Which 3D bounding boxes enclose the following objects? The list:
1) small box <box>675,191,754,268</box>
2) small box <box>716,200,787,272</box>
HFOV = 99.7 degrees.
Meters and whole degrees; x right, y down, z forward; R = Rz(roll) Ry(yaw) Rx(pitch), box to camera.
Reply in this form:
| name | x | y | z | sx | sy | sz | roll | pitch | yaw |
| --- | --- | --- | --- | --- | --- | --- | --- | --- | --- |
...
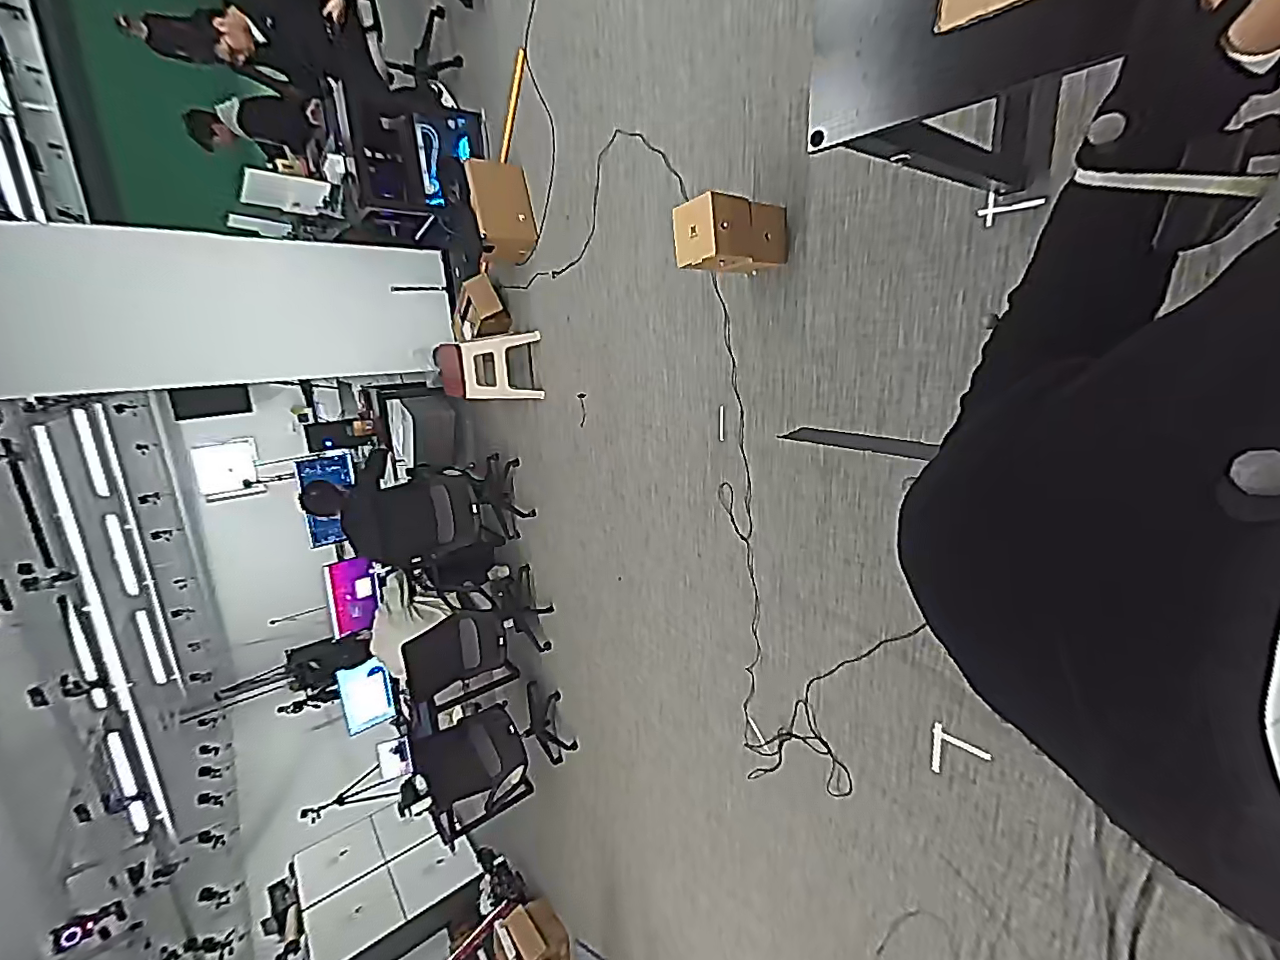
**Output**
| name | x | y | z | sx | sy | sz | roll | pitch | yaw |
| --- | --- | --- | --- | --- | --- | --- | --- | --- | --- |
| small box | 0.229 | -0.750 | 1.637 | 0.168 | 0.176 | 0.179 | 6 | 105 | 51 |
| small box | 0.357 | -0.775 | 1.735 | 0.168 | 0.176 | 0.179 | 11 | 110 | 51 |
